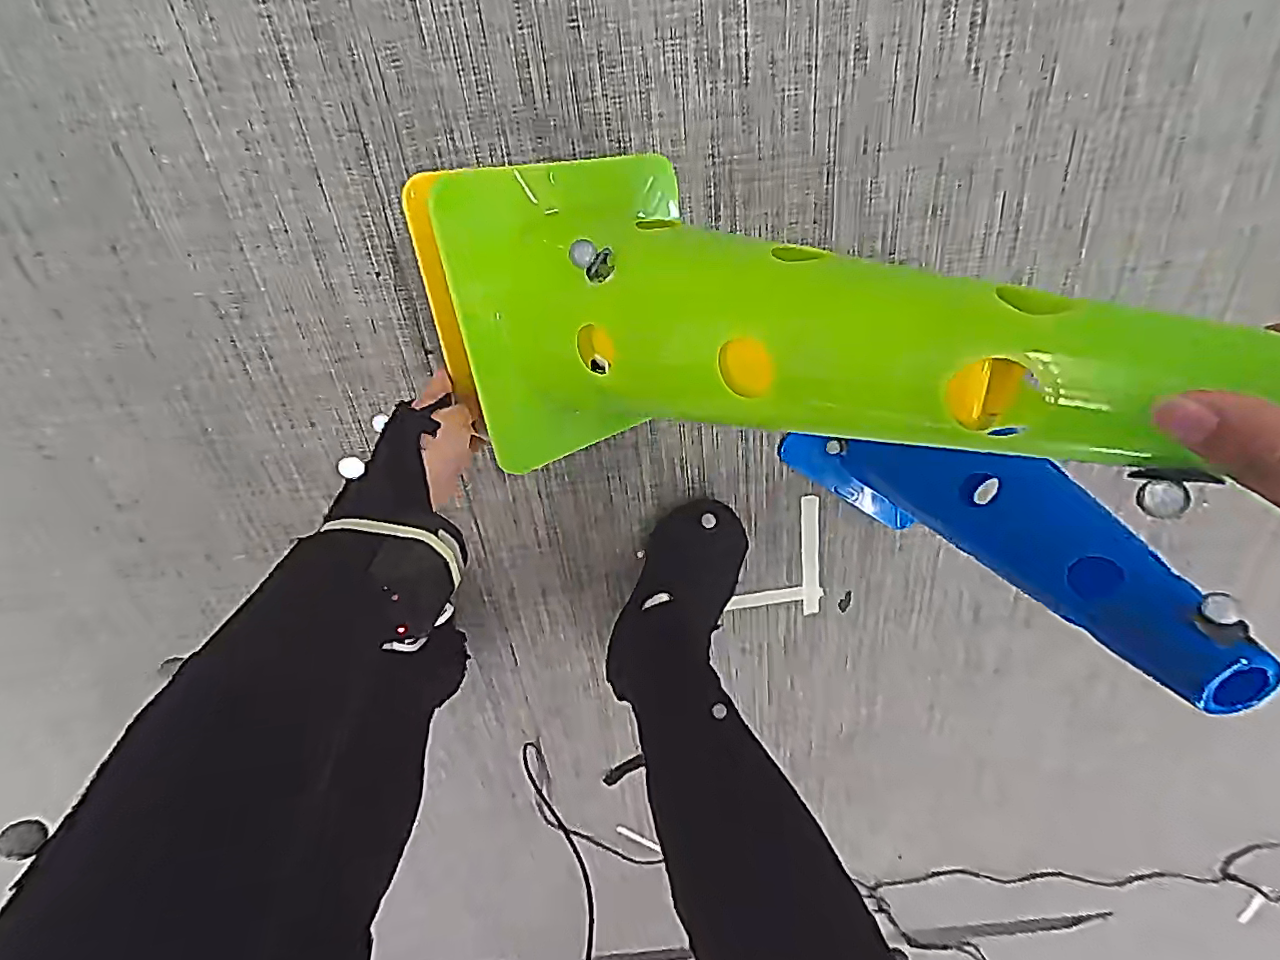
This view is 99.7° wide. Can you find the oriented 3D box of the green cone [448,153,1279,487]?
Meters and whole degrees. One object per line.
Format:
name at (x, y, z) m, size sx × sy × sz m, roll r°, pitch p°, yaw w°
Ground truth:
green cone at (0.081, -0.074, 0.277) m, size 0.202 × 0.368 × 0.200 m, roll -27°, pitch 123°, yaw -30°
